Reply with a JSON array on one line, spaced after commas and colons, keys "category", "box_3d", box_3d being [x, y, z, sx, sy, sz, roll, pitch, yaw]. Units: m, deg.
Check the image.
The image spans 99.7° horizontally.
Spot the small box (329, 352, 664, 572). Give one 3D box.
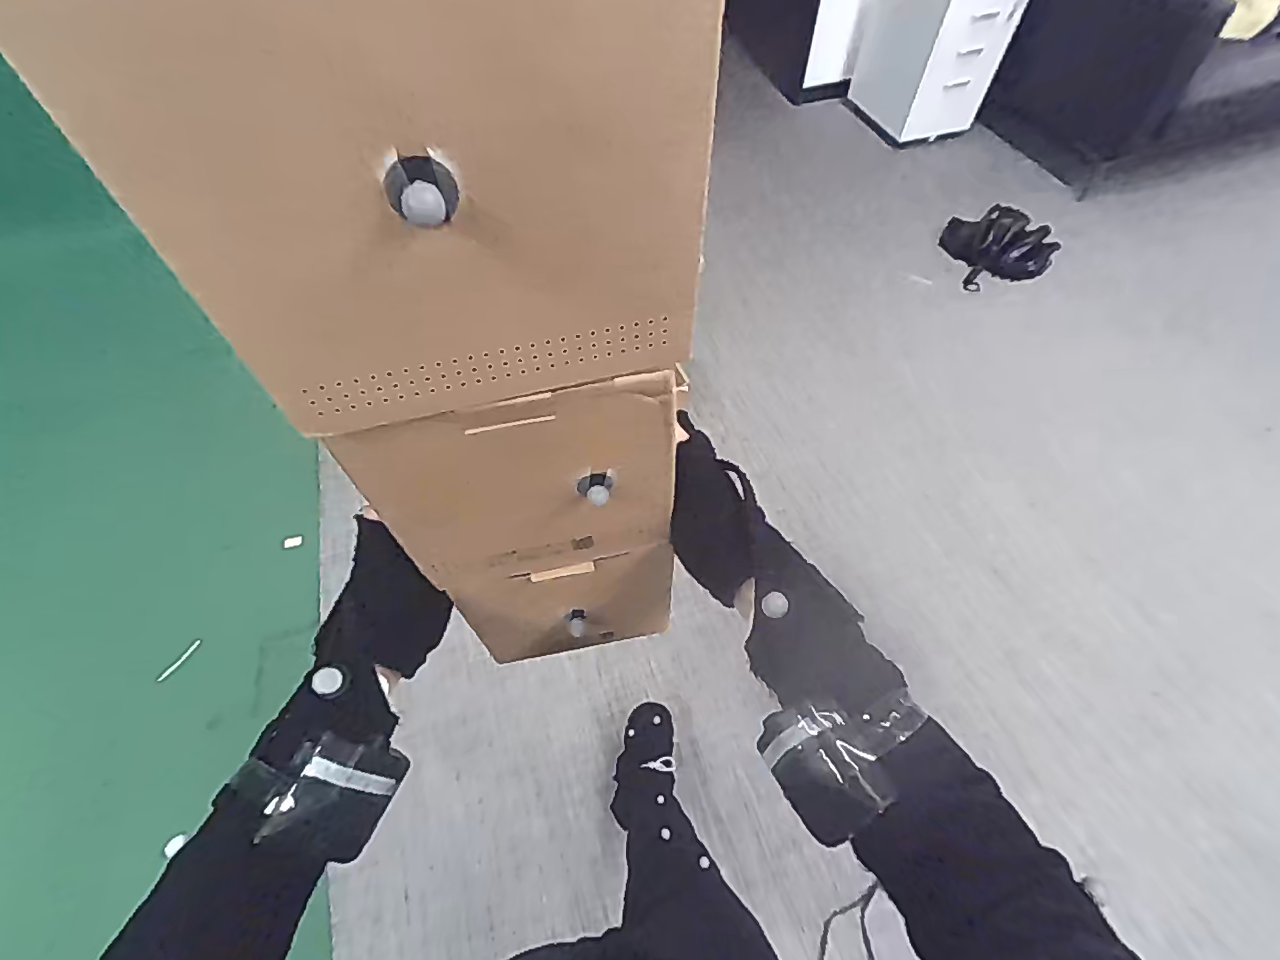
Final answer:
[{"category": "small box", "box_3d": [-0.080, -0.052, 0.369, 0.168, 0.176, 0.179, -10, 53, -7]}]

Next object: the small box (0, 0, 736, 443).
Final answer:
[{"category": "small box", "box_3d": [-0.081, -0.141, 0.231, 0.179, 0.176, 0.168, -15, 56, -12]}]

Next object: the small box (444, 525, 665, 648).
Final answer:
[{"category": "small box", "box_3d": [-0.072, 0.042, 0.501, 0.168, 0.176, 0.179, -10, 55, -5]}]
